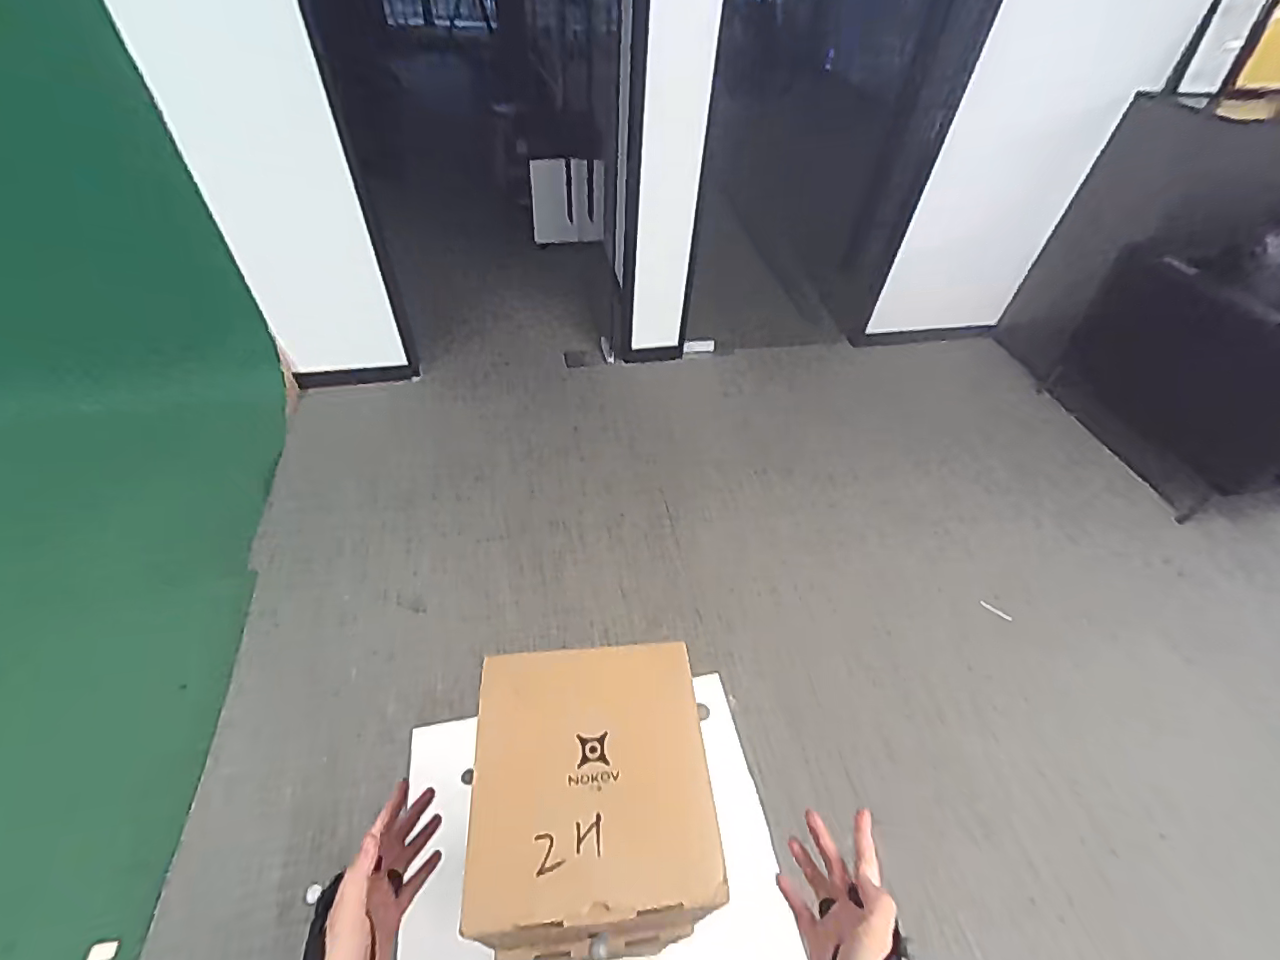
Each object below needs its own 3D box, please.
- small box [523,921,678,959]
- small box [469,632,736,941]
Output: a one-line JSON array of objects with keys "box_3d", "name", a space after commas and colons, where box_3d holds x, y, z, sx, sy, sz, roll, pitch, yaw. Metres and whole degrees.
[{"box_3d": [-0.053, 0.475, 0.677, 0.168, 0.176, 0.179, -2, 47, -6], "name": "small box"}, {"box_3d": [-0.034, 0.247, 0.441, 0.168, 0.176, 0.179, -3, 47, -6], "name": "small box"}]
